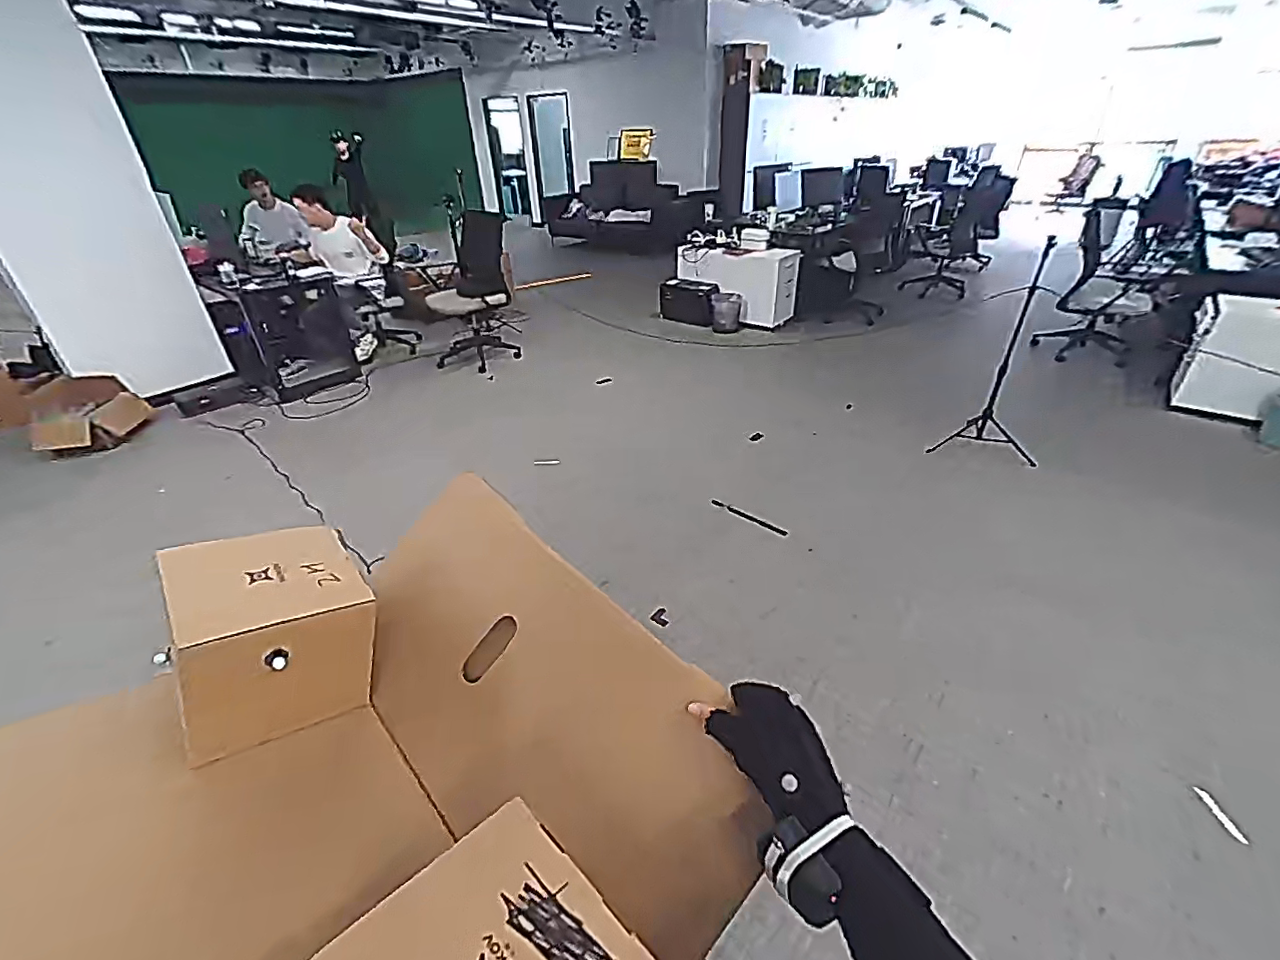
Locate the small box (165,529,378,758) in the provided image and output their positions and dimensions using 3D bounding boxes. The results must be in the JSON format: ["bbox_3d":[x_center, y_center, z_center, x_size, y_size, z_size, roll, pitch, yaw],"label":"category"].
[{"bbox_3d":[-0.428,0.182,0.635,0.179,0.176,0.168,-8,34,-43],"label":"small box"}]
